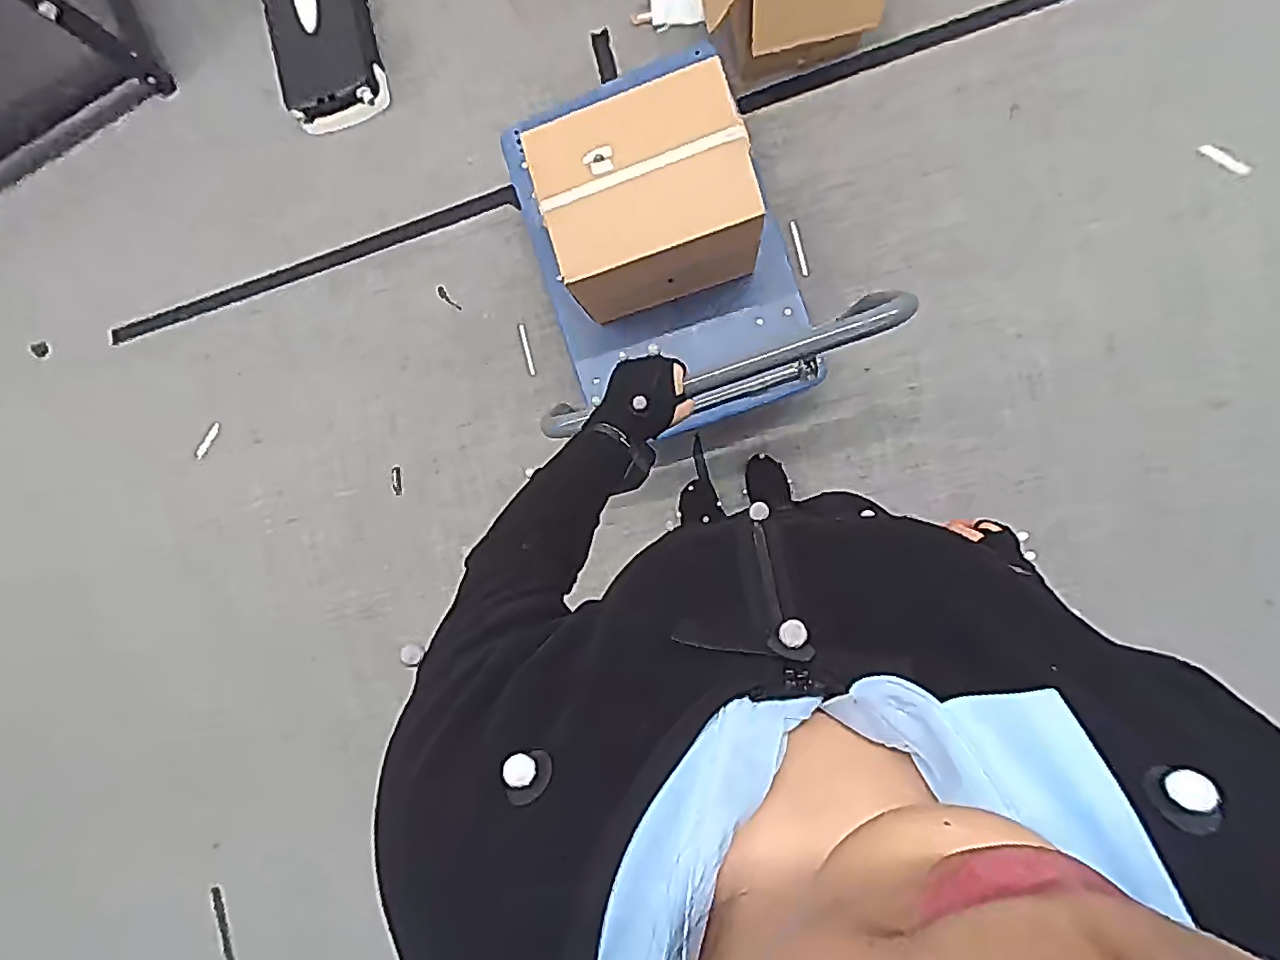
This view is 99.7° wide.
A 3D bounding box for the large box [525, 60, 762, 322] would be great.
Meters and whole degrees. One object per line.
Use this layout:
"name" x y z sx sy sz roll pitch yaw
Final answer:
"large box" 0.023 -0.592 1.188 0.408 0.320 0.320 -17 88 9
